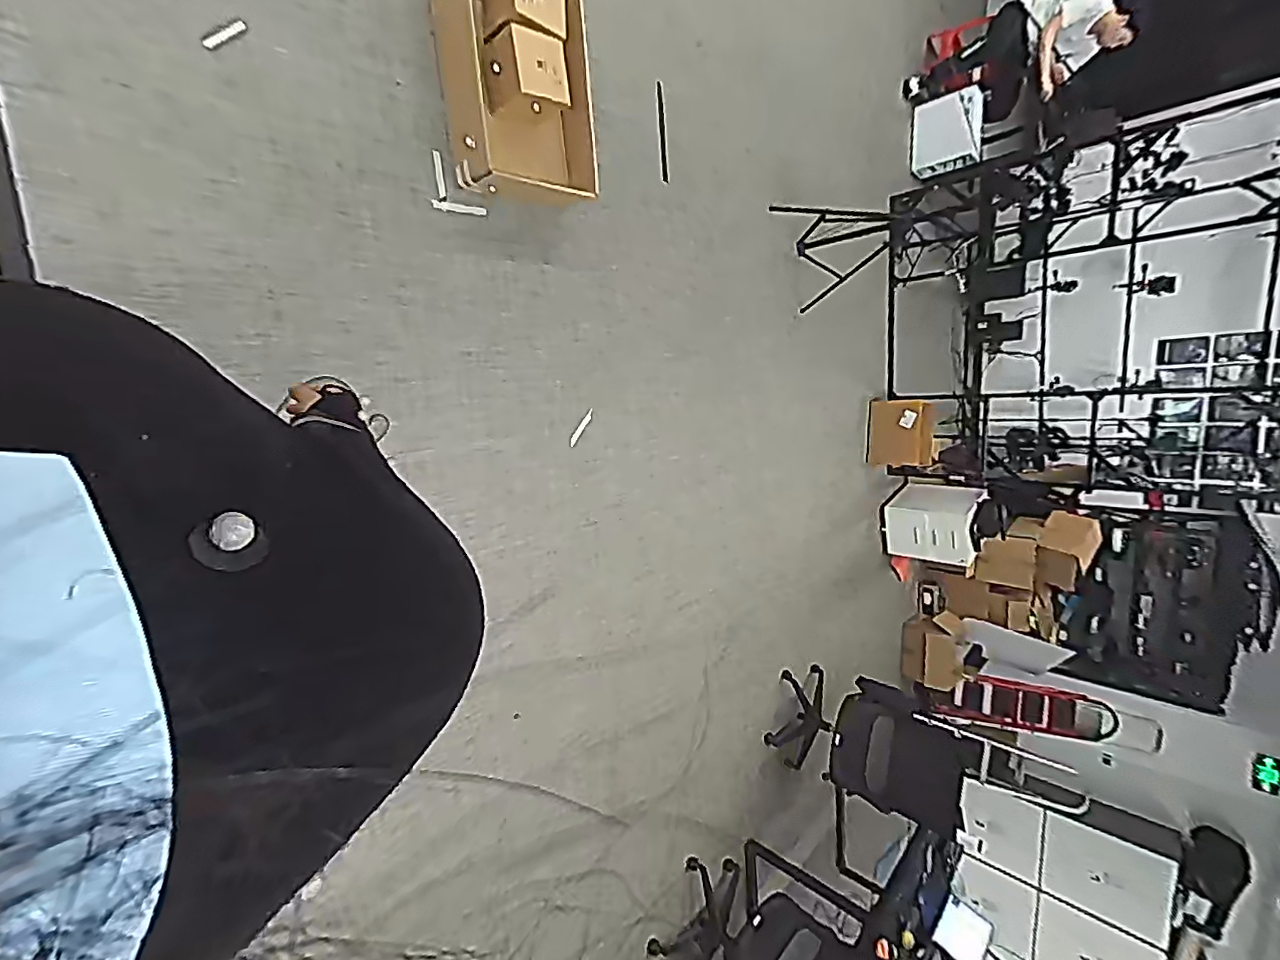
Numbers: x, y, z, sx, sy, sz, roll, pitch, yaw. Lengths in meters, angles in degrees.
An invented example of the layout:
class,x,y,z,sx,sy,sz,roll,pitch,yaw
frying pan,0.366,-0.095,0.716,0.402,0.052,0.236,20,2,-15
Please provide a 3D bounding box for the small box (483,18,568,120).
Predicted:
class,x,y,z,sx,sy,sz,roll,pitch,yaw
small box,-0.336,-1.174,1.562,0.179,0.176,0.168,-20,109,-43
